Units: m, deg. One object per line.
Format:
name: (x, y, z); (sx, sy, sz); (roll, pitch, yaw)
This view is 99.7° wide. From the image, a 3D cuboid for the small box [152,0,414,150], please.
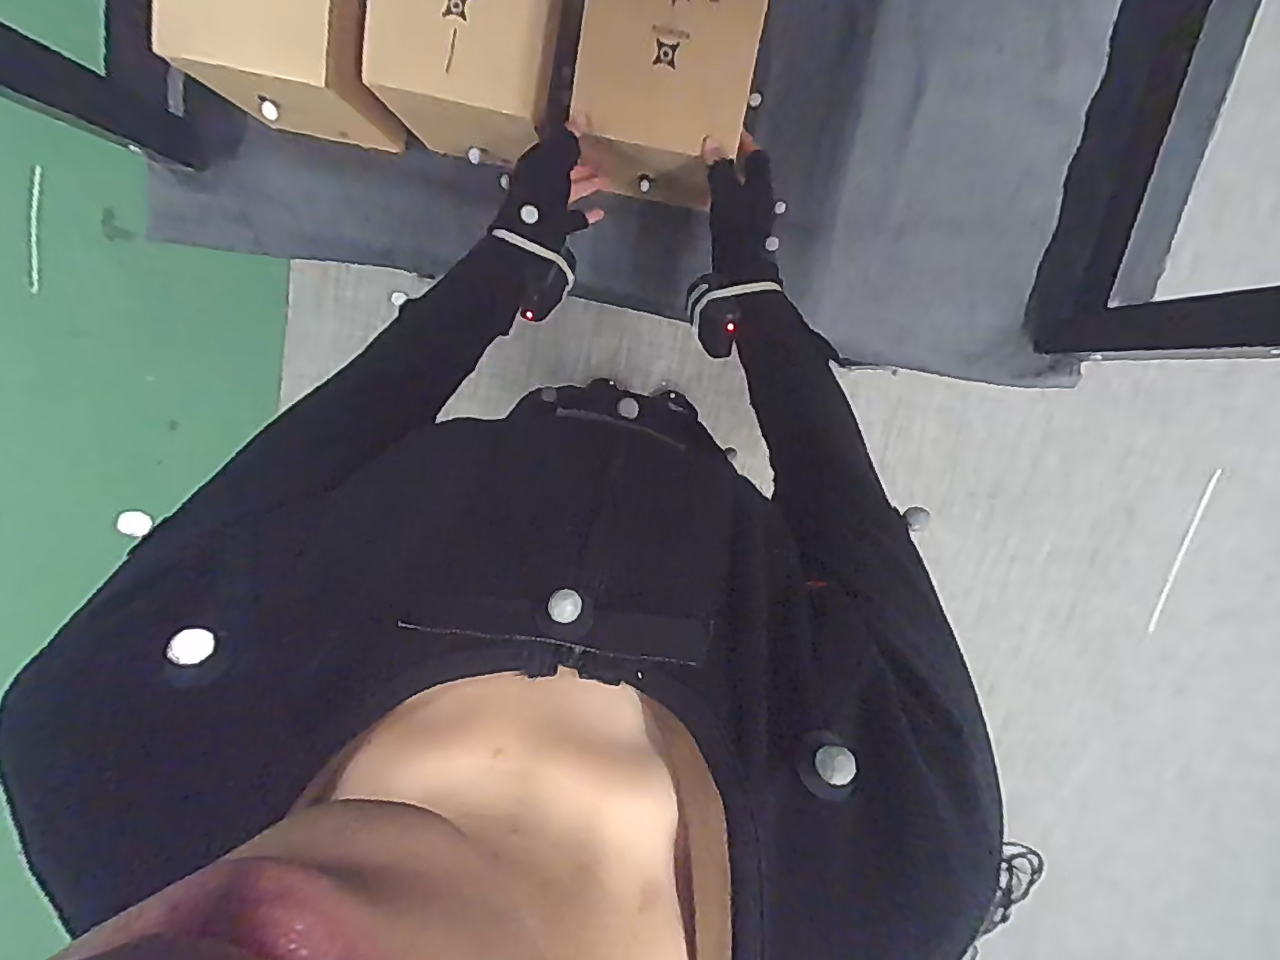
small box: (-0.356, -0.482, 0.568); (0.168, 0.176, 0.179); (11, 101, -2)
